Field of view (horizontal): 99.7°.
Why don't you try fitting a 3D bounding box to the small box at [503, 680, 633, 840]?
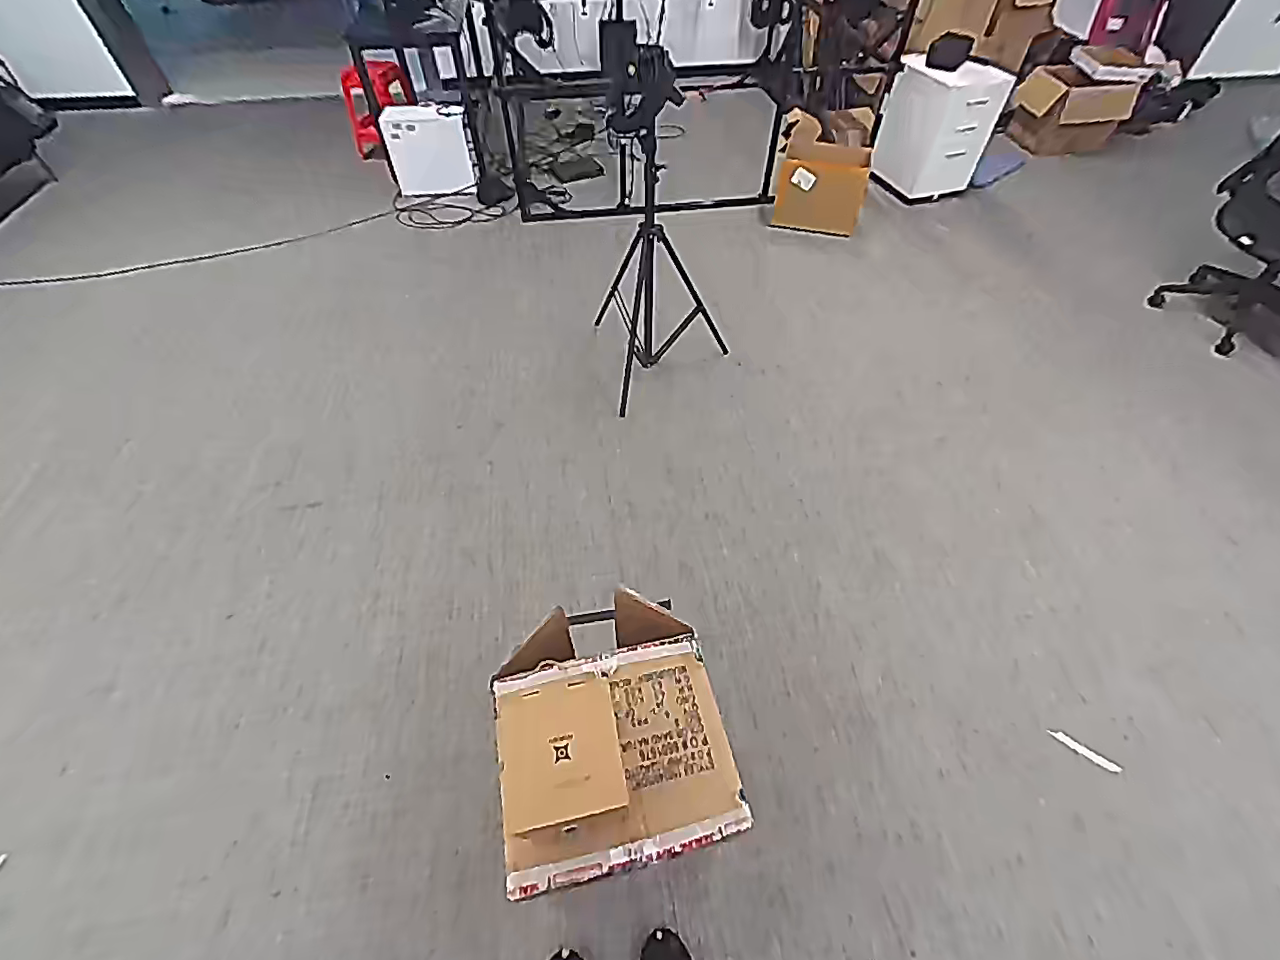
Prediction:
[{"bbox_3d":[-0.108,0.433,0.832,0.168,0.176,0.179,-11,56,-7],"label":"small box"}]
